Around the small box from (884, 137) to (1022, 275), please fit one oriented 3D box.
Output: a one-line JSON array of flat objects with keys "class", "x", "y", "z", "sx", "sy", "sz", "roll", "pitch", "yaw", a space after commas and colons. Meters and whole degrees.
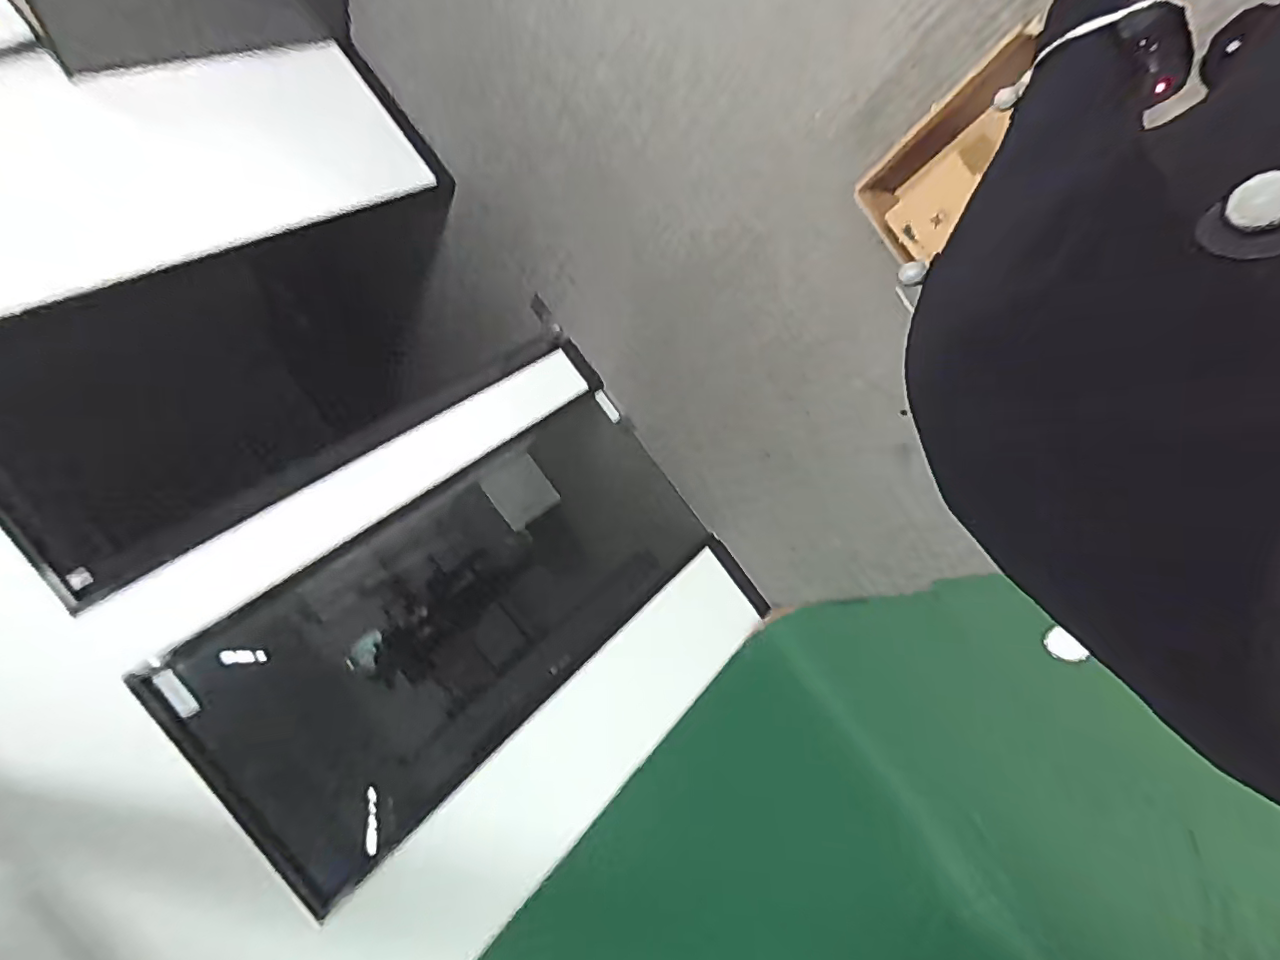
[{"class": "small box", "x": 0.665, "y": -0.579, "z": 1.140, "sx": 0.168, "sy": 0.176, "sz": 0.179, "roll": 48, "pitch": 150, "yaw": 1}]
